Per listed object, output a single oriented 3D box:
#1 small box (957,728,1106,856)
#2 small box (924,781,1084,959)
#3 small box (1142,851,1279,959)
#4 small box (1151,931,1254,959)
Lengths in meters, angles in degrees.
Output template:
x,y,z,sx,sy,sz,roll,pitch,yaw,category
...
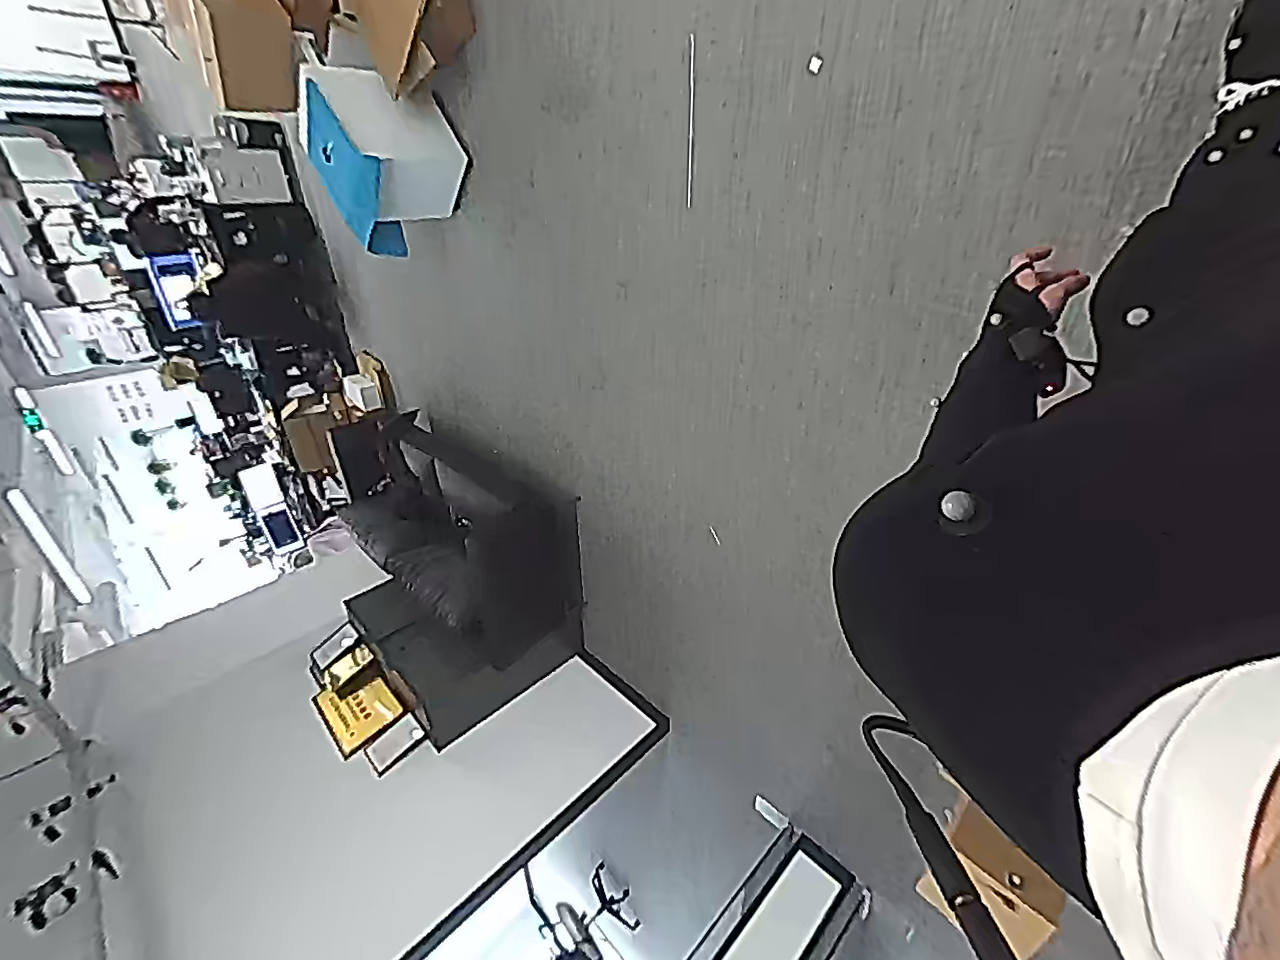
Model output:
x,y,z,sx,sy,sz,roll,pitch,yaw,category
0.761,0.627,1.051,0.168,0.176,0.179,33,133,36,small box
0.641,0.686,0.956,0.168,0.176,0.179,30,131,38,small box
0.970,0.756,0.869,0.168,0.176,0.179,33,133,35,small box
0.851,0.811,0.772,0.168,0.176,0.179,32,132,35,small box
